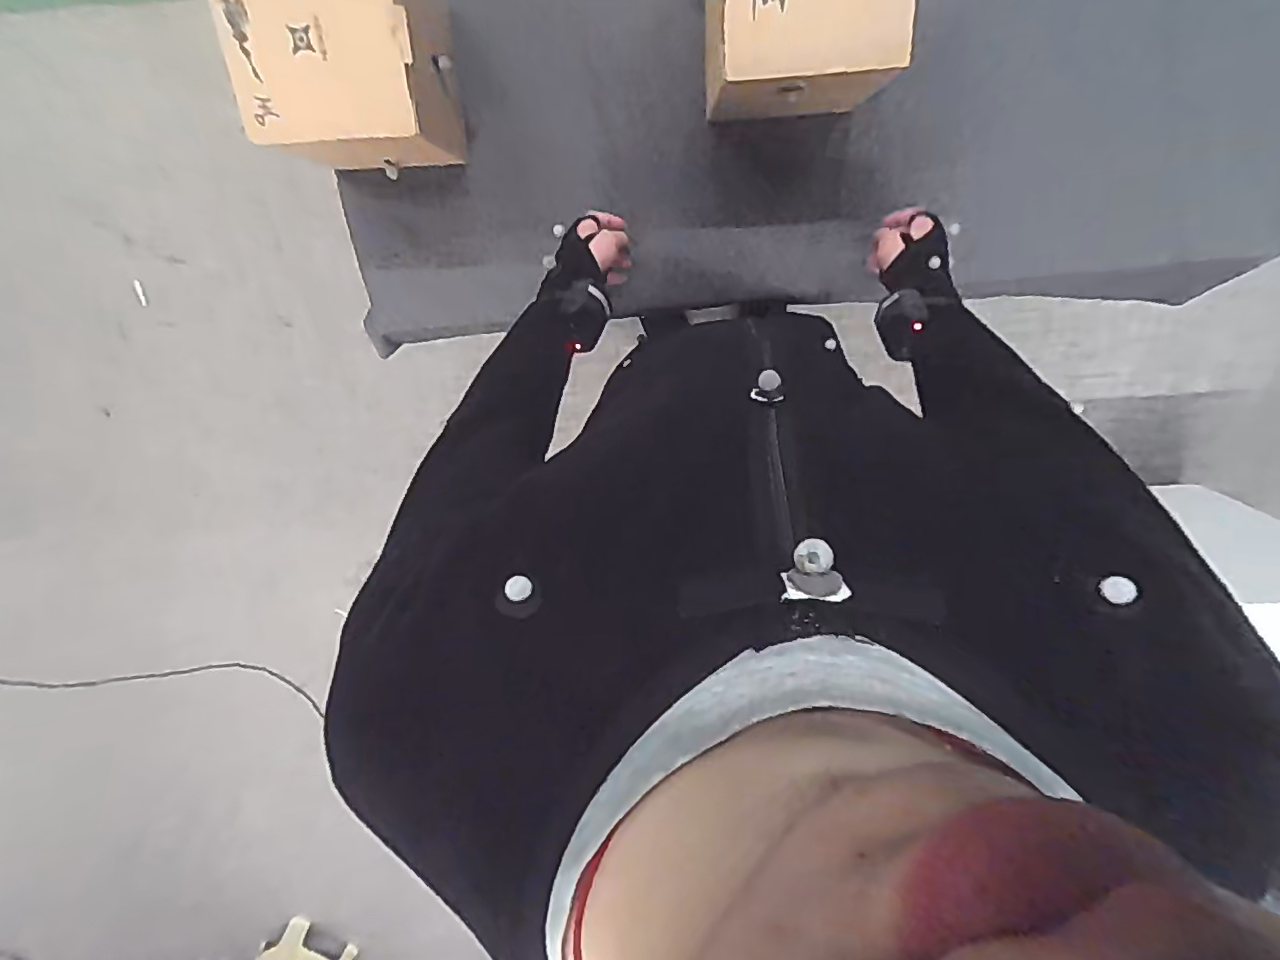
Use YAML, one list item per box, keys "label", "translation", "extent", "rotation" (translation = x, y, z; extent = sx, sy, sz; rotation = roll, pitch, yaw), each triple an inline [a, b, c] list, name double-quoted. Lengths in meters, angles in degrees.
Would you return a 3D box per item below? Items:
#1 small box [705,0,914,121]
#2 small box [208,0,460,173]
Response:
- label: "small box"
  translation: [0.158, -0.481, 0.547]
  extent: [0.179, 0.176, 0.168]
  rotation: [-3, 113, 2]
- label: "small box"
  translation: [-0.307, -0.437, 0.581]
  extent: [0.179, 0.176, 0.168]
  rotation: [-2, 112, 2]
